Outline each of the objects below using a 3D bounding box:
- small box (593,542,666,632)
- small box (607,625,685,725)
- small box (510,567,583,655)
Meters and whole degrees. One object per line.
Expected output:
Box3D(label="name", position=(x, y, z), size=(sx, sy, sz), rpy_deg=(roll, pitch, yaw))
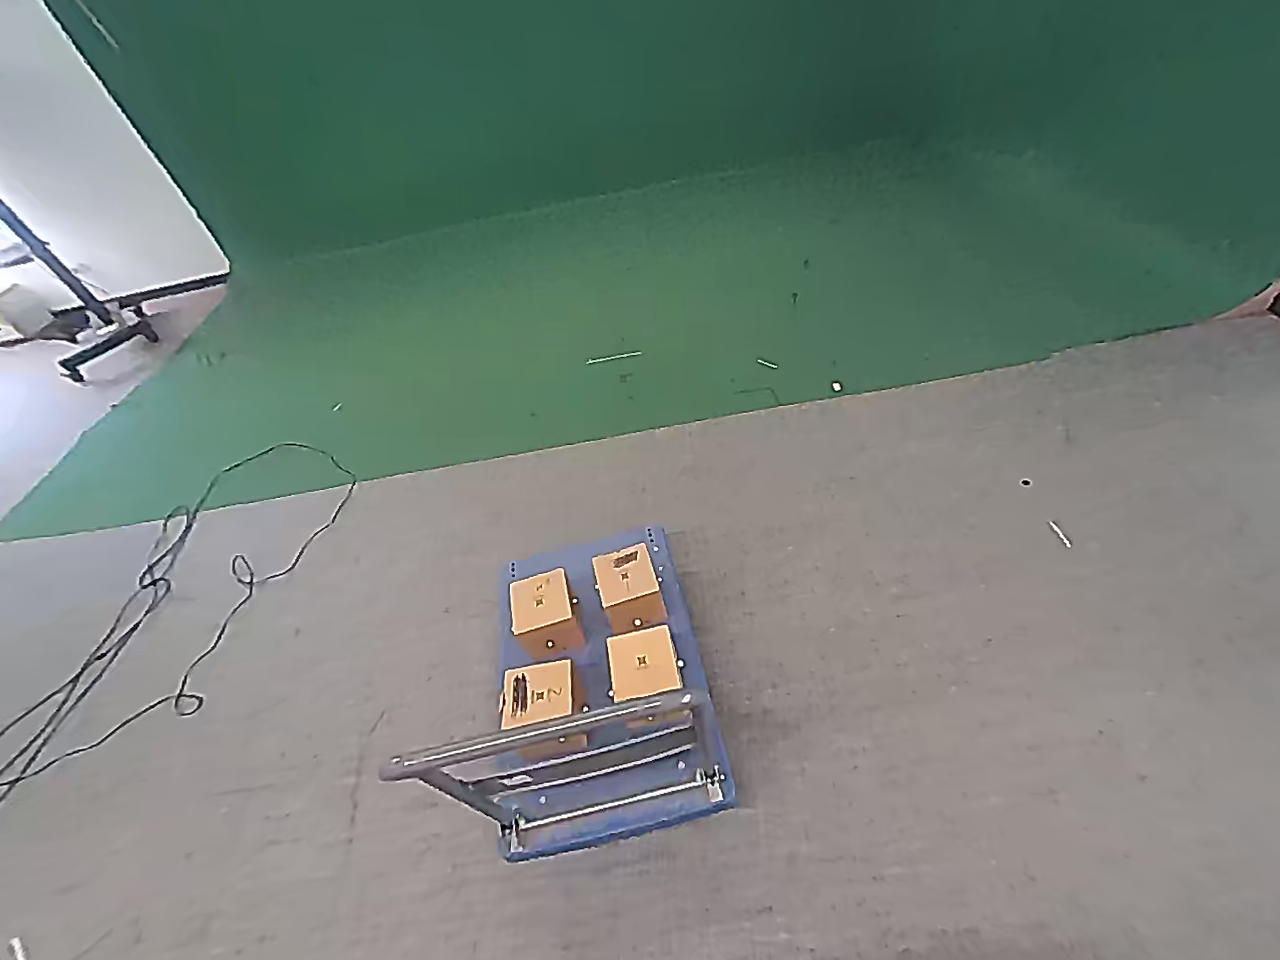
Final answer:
Box3D(label="small box", position=(-0.031, 0.318, 1.592), size=(0.168, 0.176, 0.179), rpy_deg=(-17, 47, -2))
Box3D(label="small box", position=(0.017, 0.507, 1.405), size=(0.168, 0.176, 0.179), rpy_deg=(-13, 46, 0))
Box3D(label="small box", position=(-0.271, 0.390, 1.579), size=(0.168, 0.176, 0.179), rpy_deg=(-16, 46, -3))
